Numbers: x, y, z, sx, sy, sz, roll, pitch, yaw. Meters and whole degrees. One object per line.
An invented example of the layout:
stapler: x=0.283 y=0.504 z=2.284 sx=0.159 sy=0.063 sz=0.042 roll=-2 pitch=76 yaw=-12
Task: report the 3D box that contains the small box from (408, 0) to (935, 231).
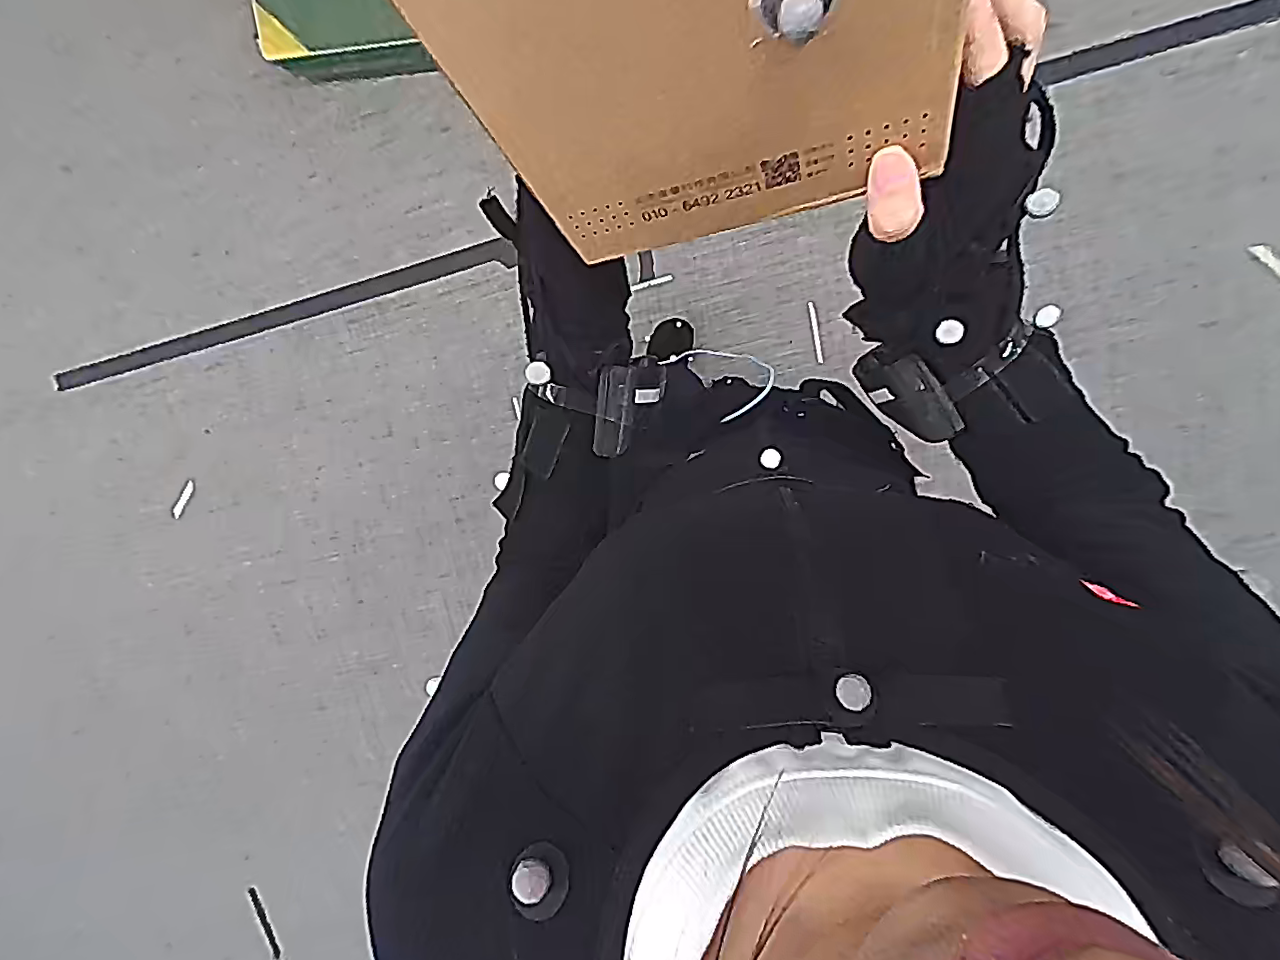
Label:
small box: x=0.023 y=-0.231 z=0.221 sx=0.168 sy=0.176 sz=0.179 roll=-4 pitch=72 yaw=22
